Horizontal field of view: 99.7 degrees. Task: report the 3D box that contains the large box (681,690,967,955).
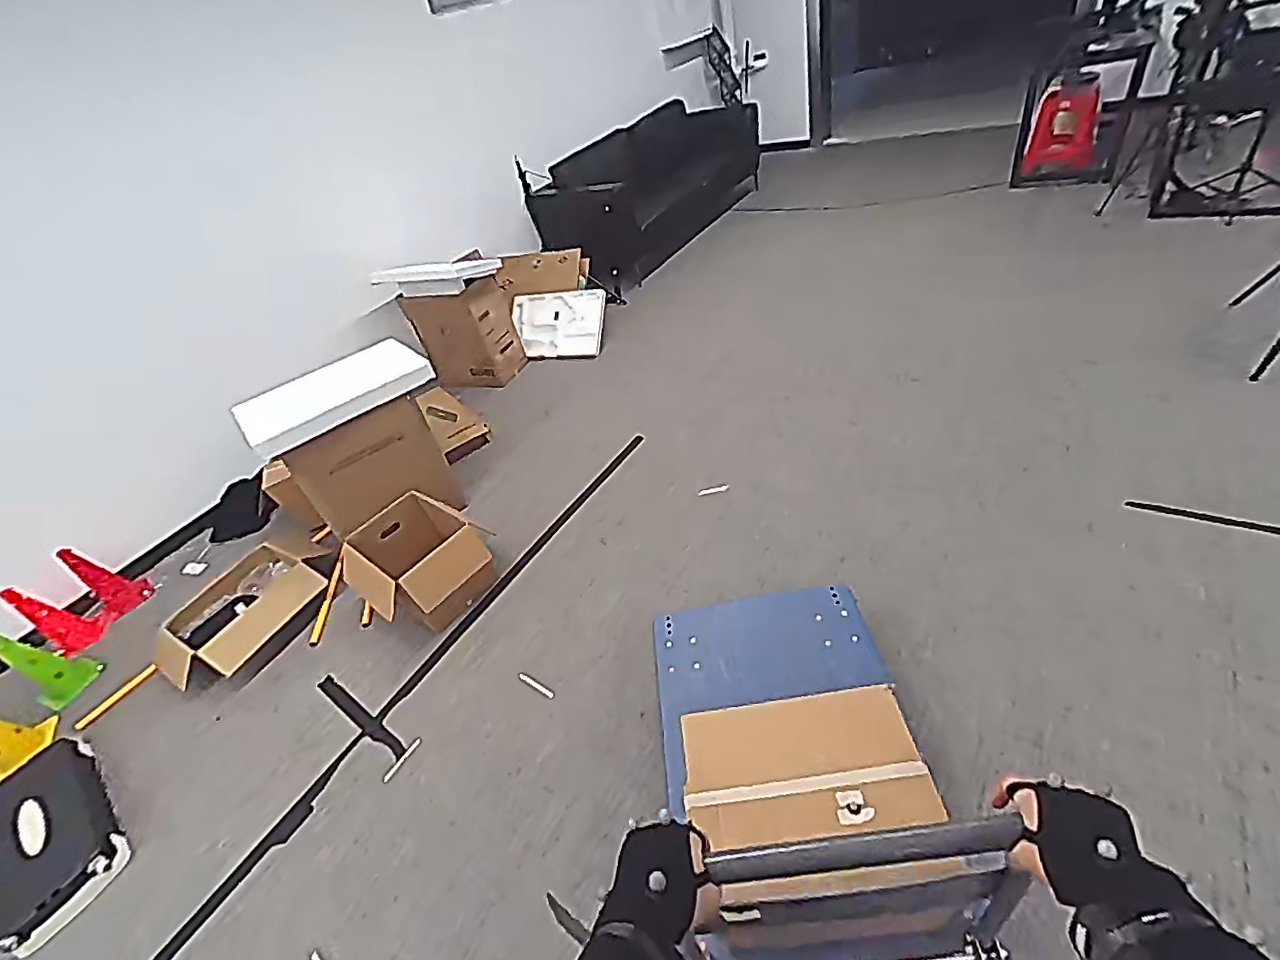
[{"bbox_3d":[0.309,0.644,1.017,0.408,0.320,0.320,-11,40,5],"label":"large box"}]
